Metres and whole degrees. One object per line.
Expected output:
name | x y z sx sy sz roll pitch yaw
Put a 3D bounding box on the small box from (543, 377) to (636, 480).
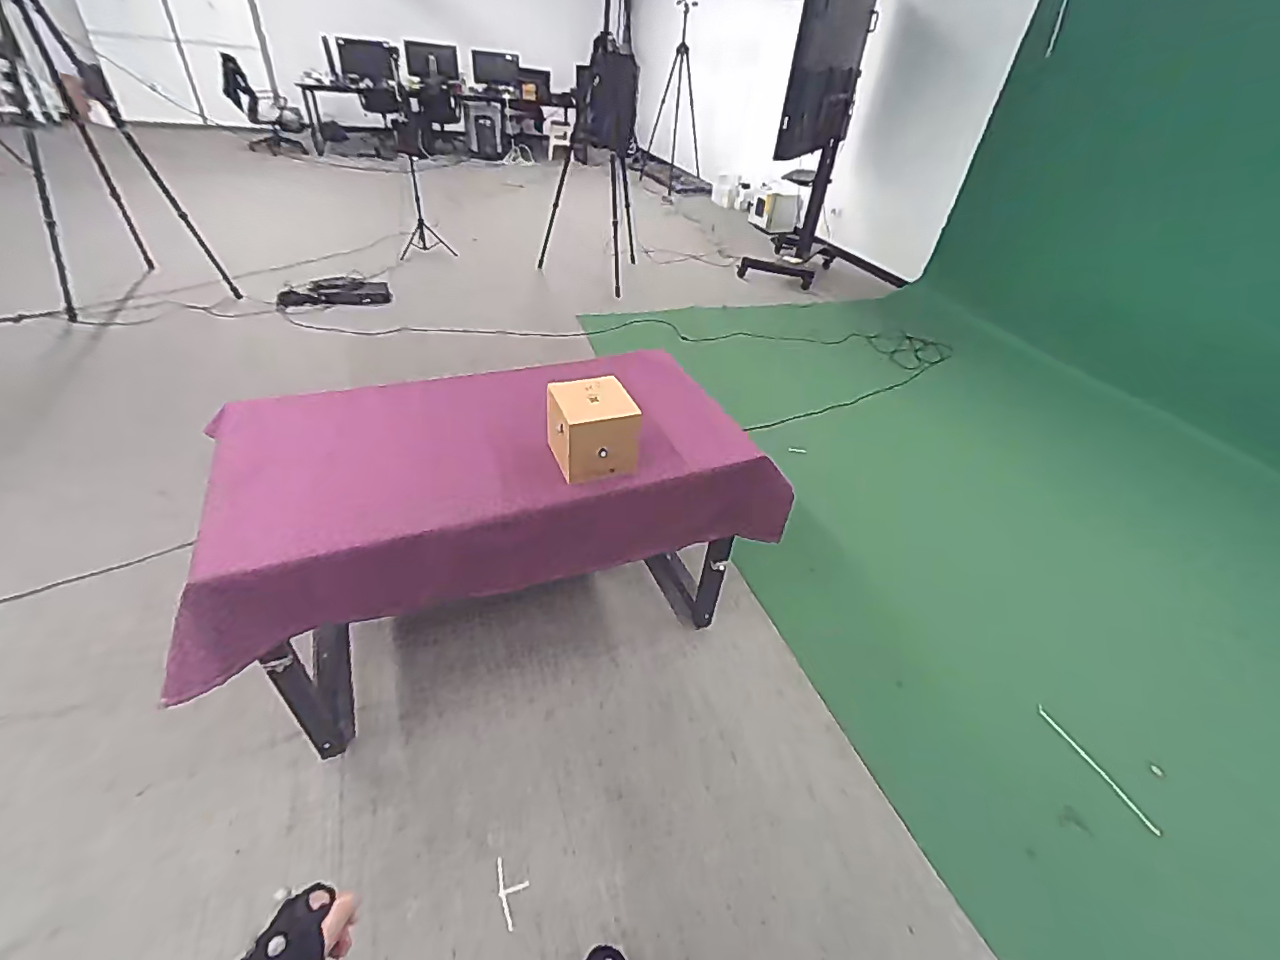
small box | -0.120 -0.113 1.244 0.168 0.176 0.179 -11 42 -21
